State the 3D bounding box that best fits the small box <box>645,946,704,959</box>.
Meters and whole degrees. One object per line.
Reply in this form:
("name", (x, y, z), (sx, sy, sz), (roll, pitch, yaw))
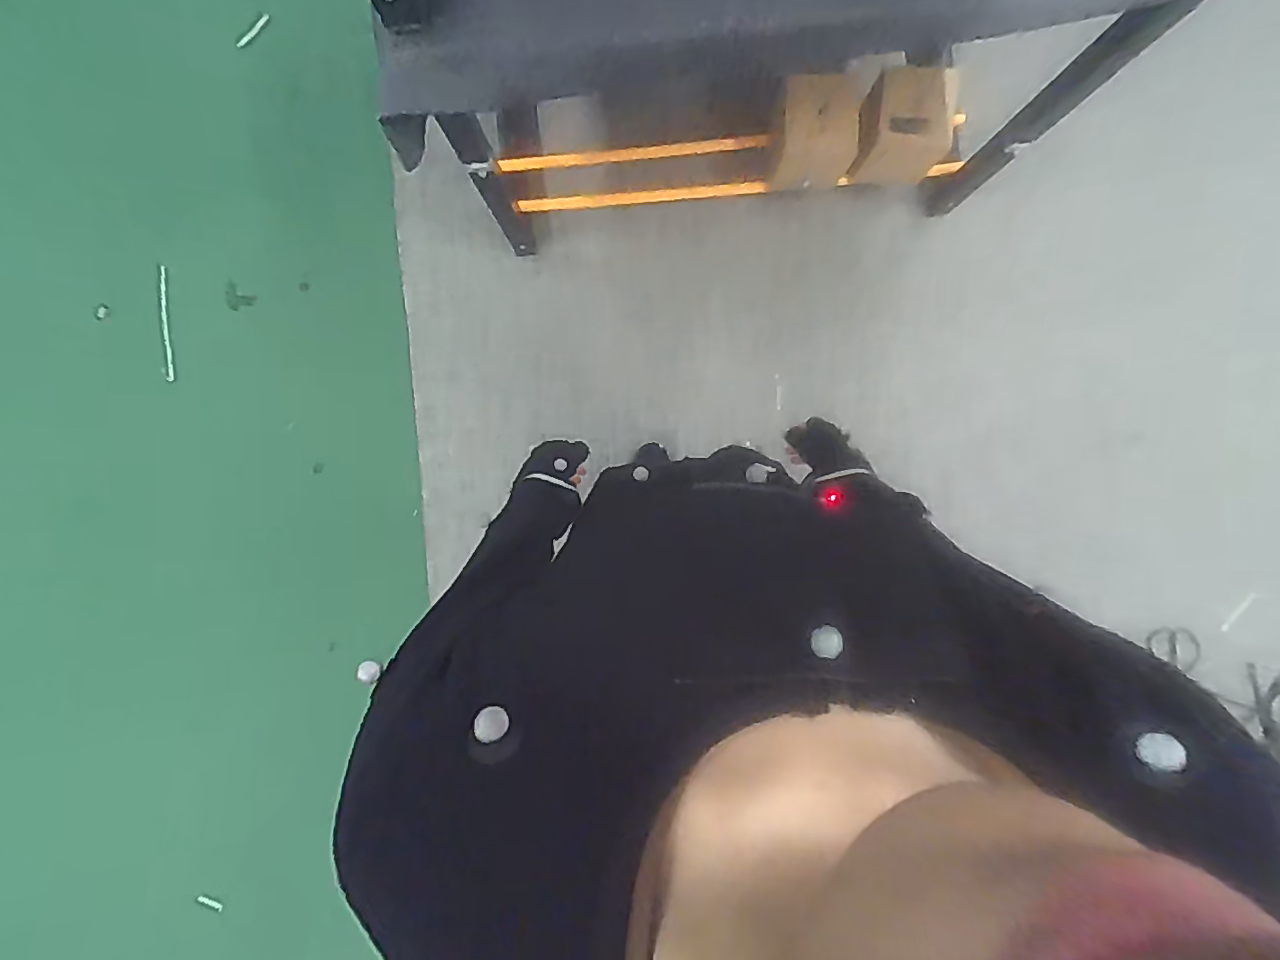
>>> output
("small box", (0.097, 1.382, 1.420), (0.168, 0.176, 0.179), (-3, 90, 1))
